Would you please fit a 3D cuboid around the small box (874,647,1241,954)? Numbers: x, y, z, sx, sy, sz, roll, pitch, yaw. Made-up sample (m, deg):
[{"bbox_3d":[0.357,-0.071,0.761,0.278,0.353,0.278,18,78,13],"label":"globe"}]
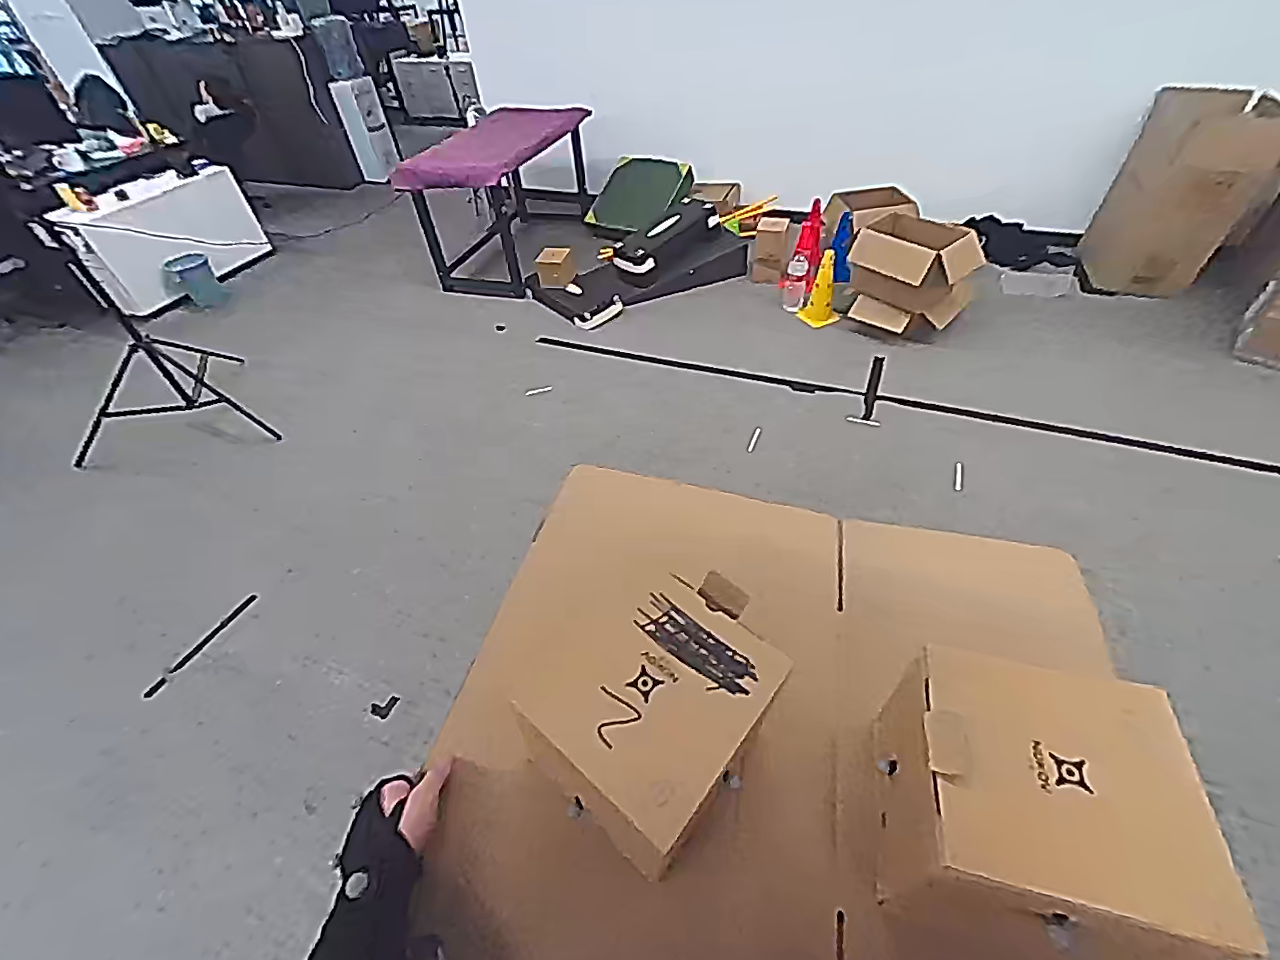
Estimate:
[{"bbox_3d":[0.312,0.270,0.458,0.179,0.176,0.168,8,47,14],"label":"small box"}]
